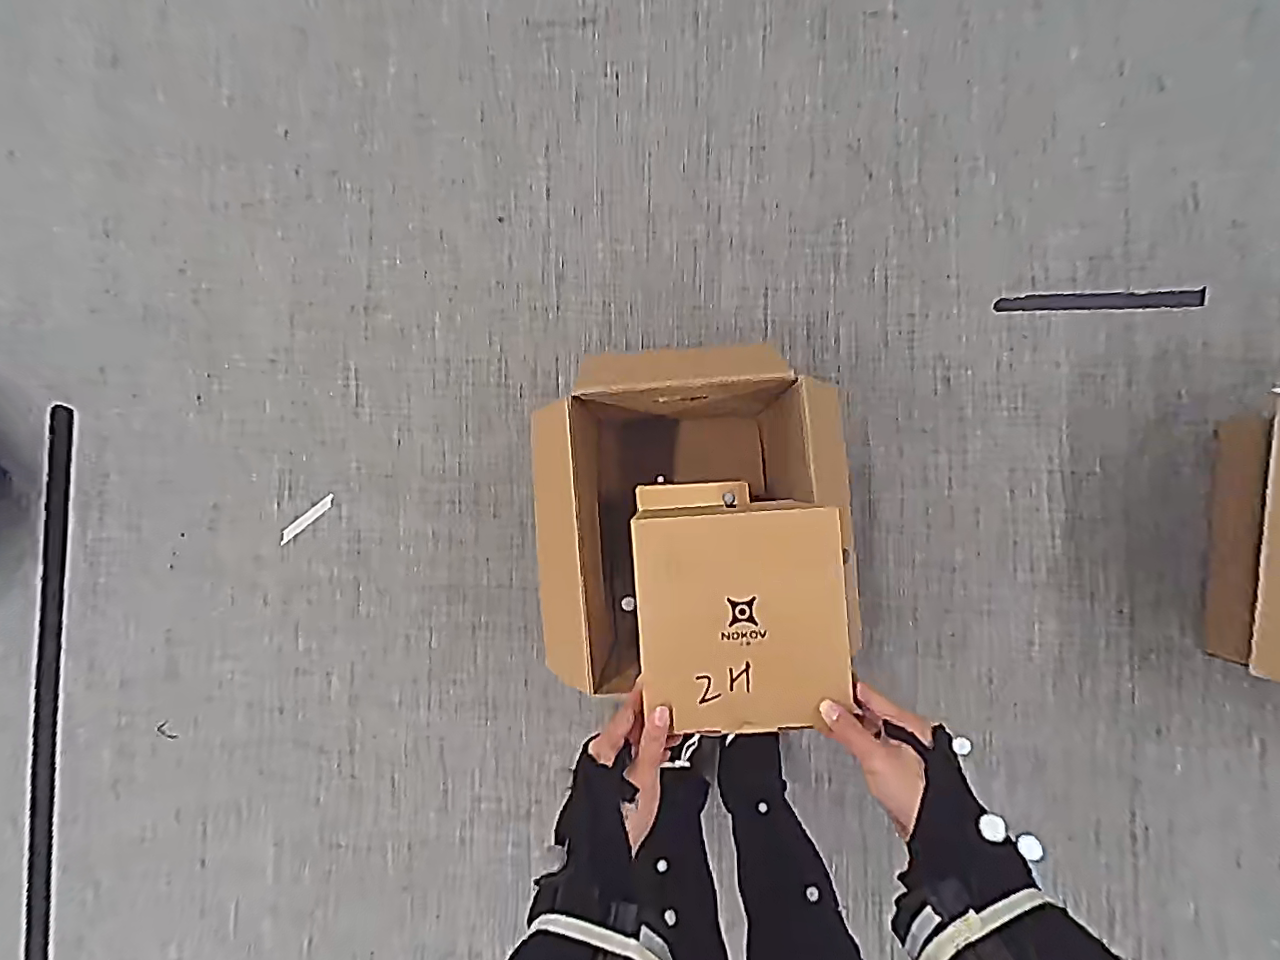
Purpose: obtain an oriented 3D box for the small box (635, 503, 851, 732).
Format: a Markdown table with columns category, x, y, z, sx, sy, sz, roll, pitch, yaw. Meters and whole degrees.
| category | x | y | z | sx | sy | sz | roll | pitch | yaw |
| --- | --- | --- | --- | --- | --- | --- | --- | --- | --- |
| small box | 0.084 | 0.112 | 0.509 | 0.168 | 0.176 | 0.179 | -4 | 89 | 3 |
